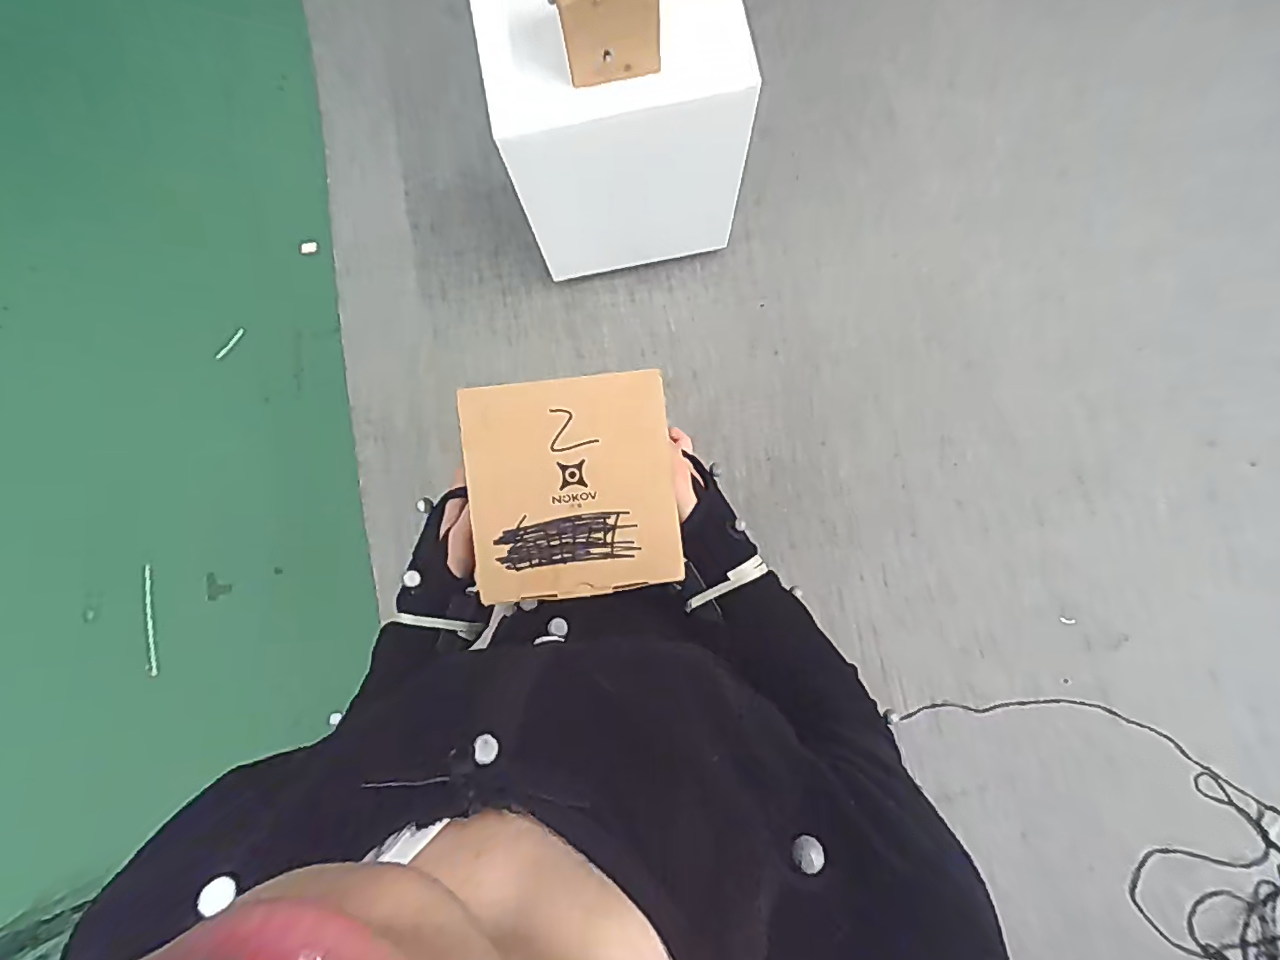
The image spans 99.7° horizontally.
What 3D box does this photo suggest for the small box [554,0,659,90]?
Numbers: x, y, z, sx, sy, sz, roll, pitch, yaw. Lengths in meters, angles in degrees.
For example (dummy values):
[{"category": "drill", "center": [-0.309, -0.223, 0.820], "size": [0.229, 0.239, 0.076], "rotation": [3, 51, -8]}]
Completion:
[{"category": "small box", "center": [-0.064, -0.825, 0.929], "size": [0.168, 0.176, 0.179], "rotation": [-11, 82, 1]}]
